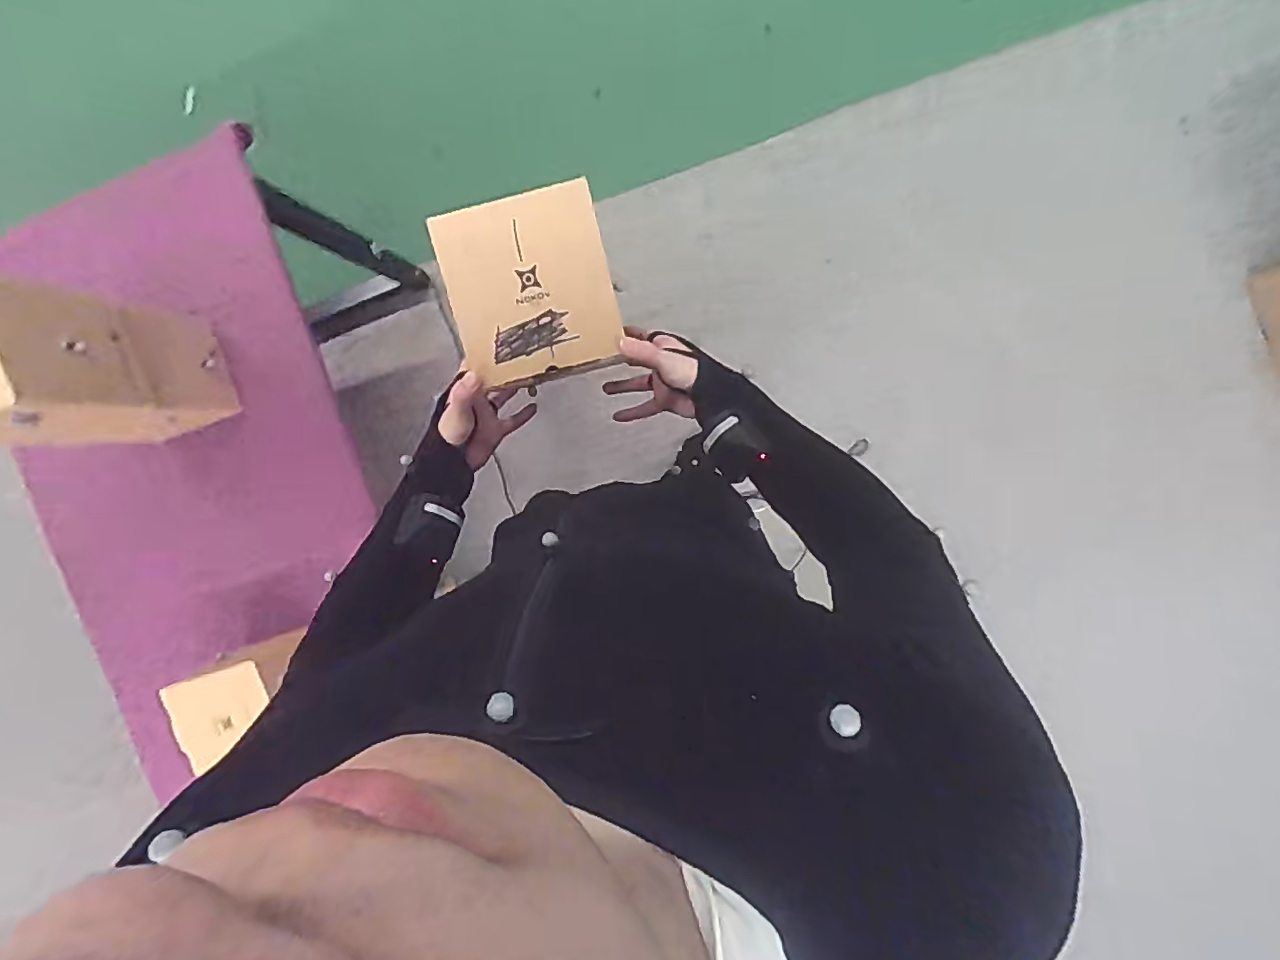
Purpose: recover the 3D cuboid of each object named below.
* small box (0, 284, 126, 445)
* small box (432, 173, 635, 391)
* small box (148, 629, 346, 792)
[{"bbox_3d":[-0.819,-0.144,0.689,0.179,0.176,0.168,-17,95,7],"label":"small box"},{"bbox_3d":[-0.102,-0.206,0.608,0.168,0.176,0.179,-14,100,2],"label":"small box"},{"bbox_3d":[-0.637,0.371,0.898,0.179,0.176,0.168,-18,95,6],"label":"small box"}]
